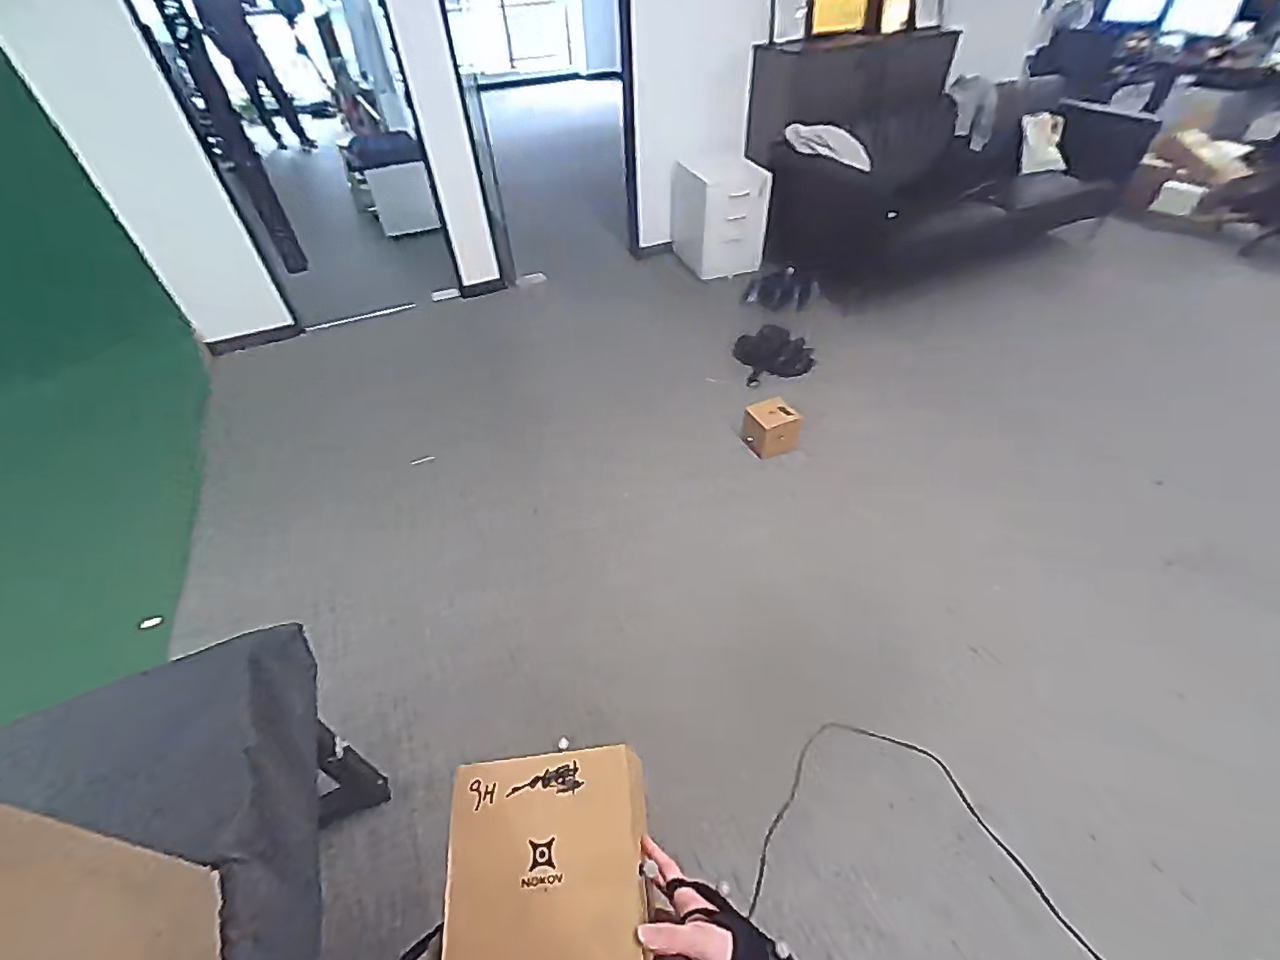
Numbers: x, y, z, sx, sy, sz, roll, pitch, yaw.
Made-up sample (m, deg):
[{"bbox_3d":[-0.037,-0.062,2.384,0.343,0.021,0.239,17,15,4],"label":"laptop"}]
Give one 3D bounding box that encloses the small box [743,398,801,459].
[{"bbox_3d":[0.555,-0.219,2.302,0.179,0.176,0.168,-20,47,-15],"label":"small box"}]
